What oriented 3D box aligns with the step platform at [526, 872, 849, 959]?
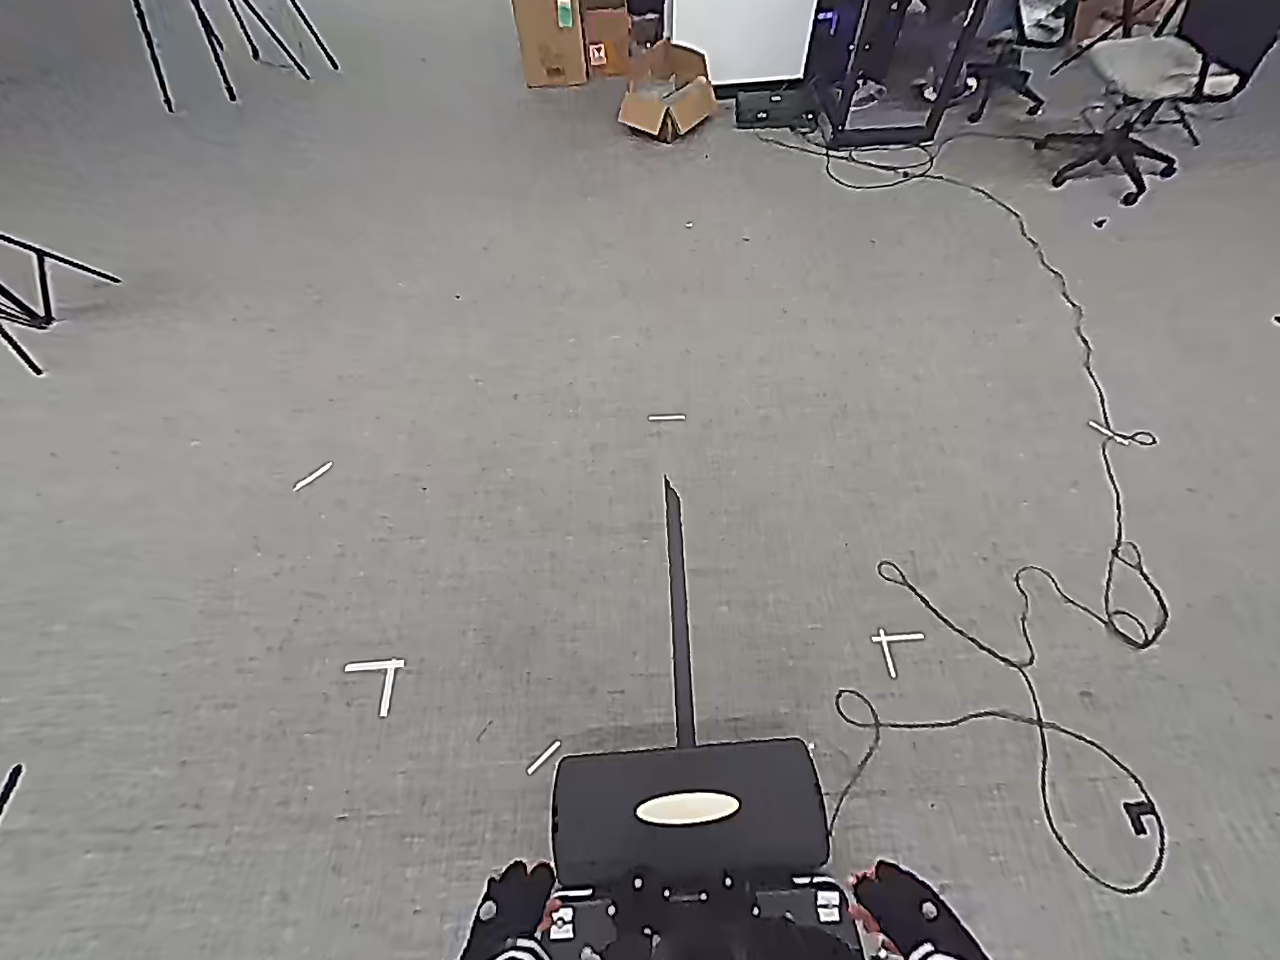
[{"bbox_3d":[0.098,1.045,1.160,0.684,0.204,0.286,-5,58,1],"label":"step platform"}]
